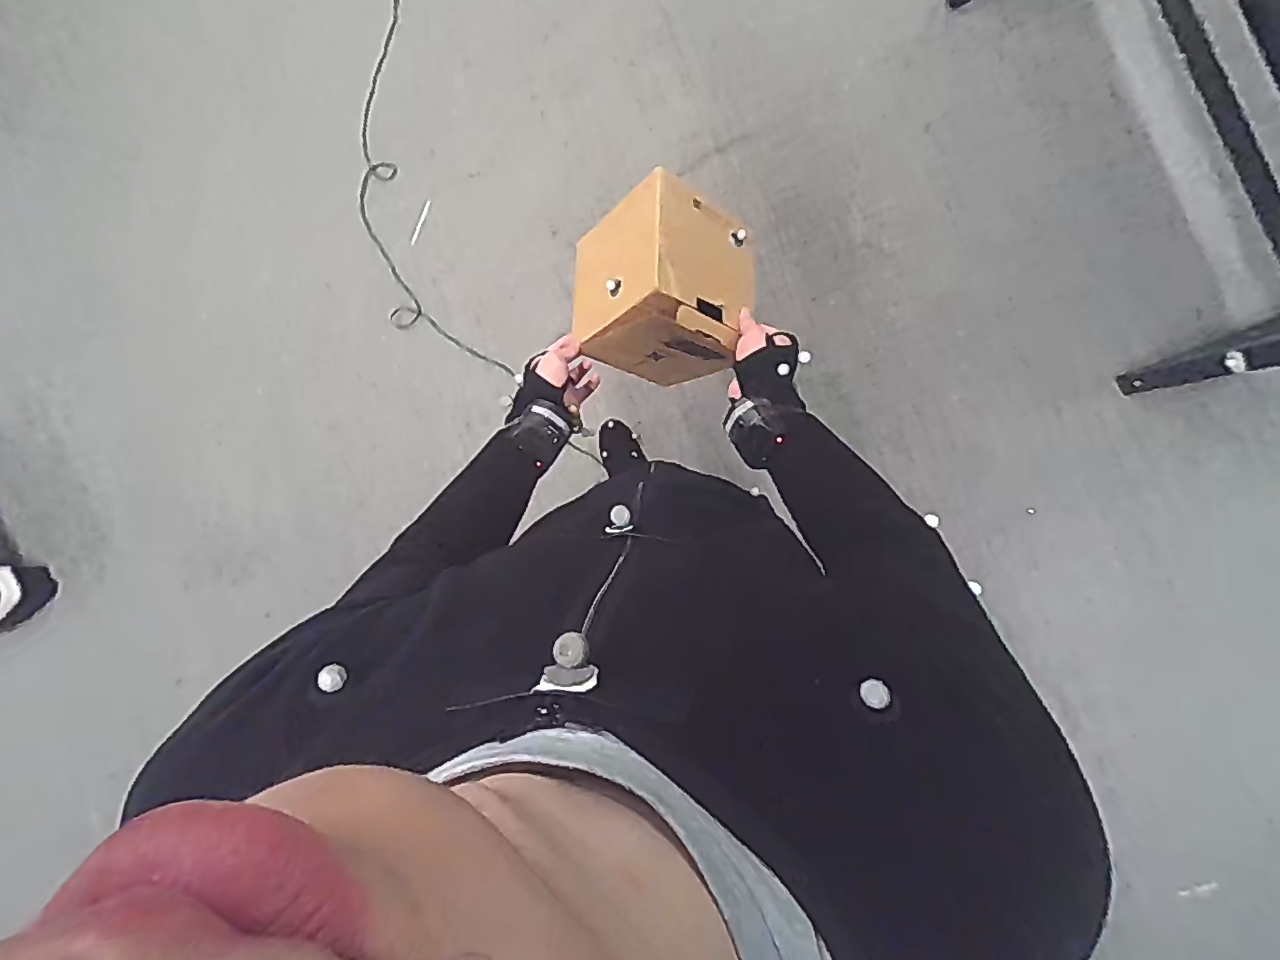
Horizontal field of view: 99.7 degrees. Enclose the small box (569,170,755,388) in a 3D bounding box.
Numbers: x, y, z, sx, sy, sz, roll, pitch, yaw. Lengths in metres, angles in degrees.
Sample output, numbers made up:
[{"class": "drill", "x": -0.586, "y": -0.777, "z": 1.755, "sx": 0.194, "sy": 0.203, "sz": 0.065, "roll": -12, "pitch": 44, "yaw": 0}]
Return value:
[{"class": "small box", "x": 0.026, "y": -0.246, "z": 0.693, "sx": 0.168, "sy": 0.179, "sz": 0.176, "roll": 17, "pitch": 66, "yaw": -36}]
